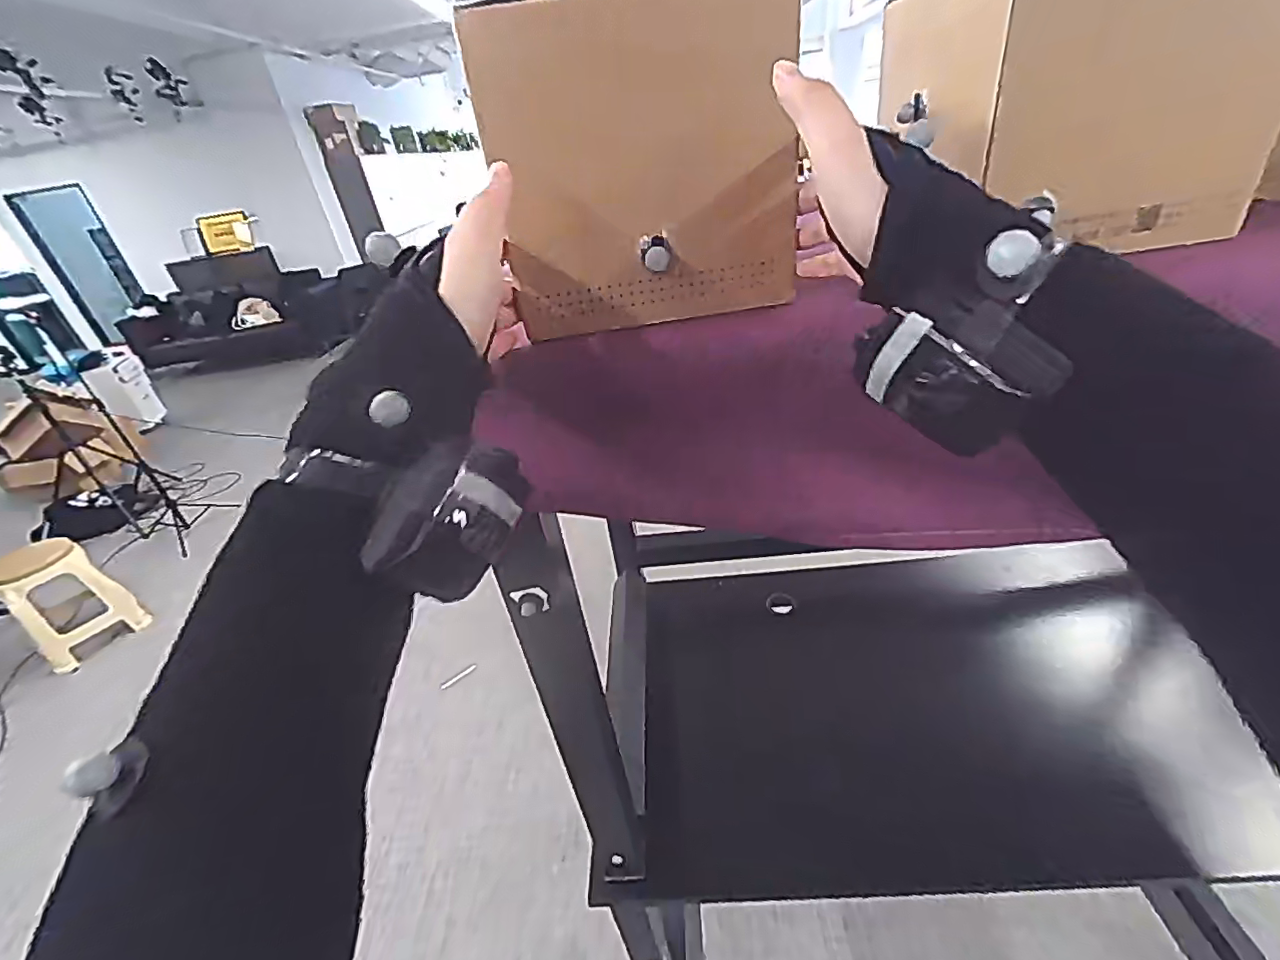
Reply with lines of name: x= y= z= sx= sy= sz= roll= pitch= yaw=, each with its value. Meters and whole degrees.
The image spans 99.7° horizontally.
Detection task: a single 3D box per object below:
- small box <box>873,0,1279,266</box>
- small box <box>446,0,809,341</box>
small box: x=0.275 y=-0.251 z=0.366 sx=0.168 sy=0.176 sz=0.179 roll=-7 pitch=30 yaw=3
small box: x=-0.005 y=-0.204 z=0.360 sx=0.179 sy=0.176 sz=0.168 roll=-9 pitch=30 yaw=-3
